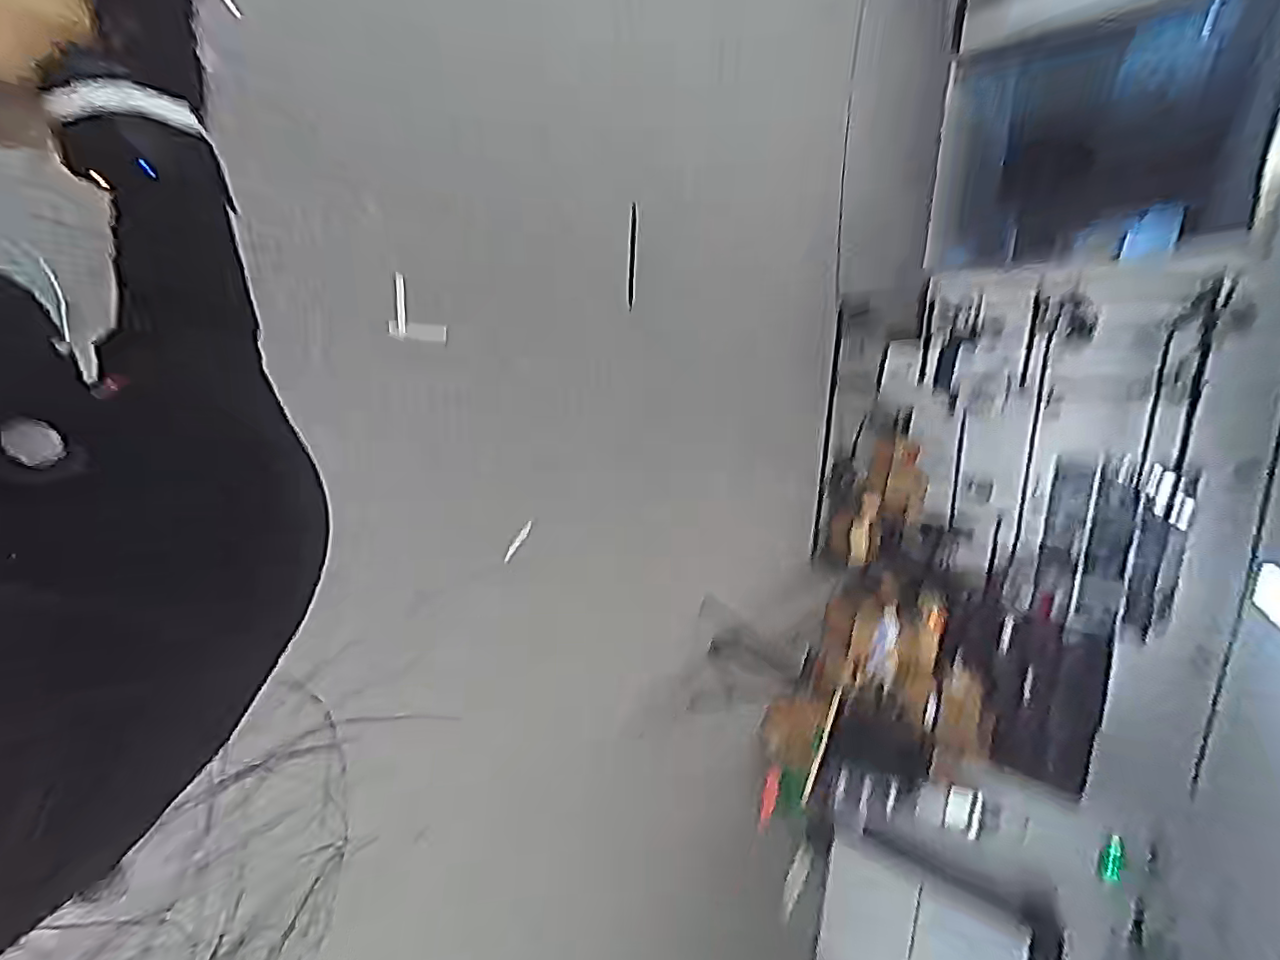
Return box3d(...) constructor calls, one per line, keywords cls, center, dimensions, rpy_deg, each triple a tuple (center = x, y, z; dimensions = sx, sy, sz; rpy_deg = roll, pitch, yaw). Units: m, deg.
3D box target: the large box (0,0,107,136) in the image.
box3d(cls="large box", center=(-0.602, -0.403, 0.260), dimensions=(0.408, 0.320, 0.320), rpy_deg=(-21, 121, -51))
